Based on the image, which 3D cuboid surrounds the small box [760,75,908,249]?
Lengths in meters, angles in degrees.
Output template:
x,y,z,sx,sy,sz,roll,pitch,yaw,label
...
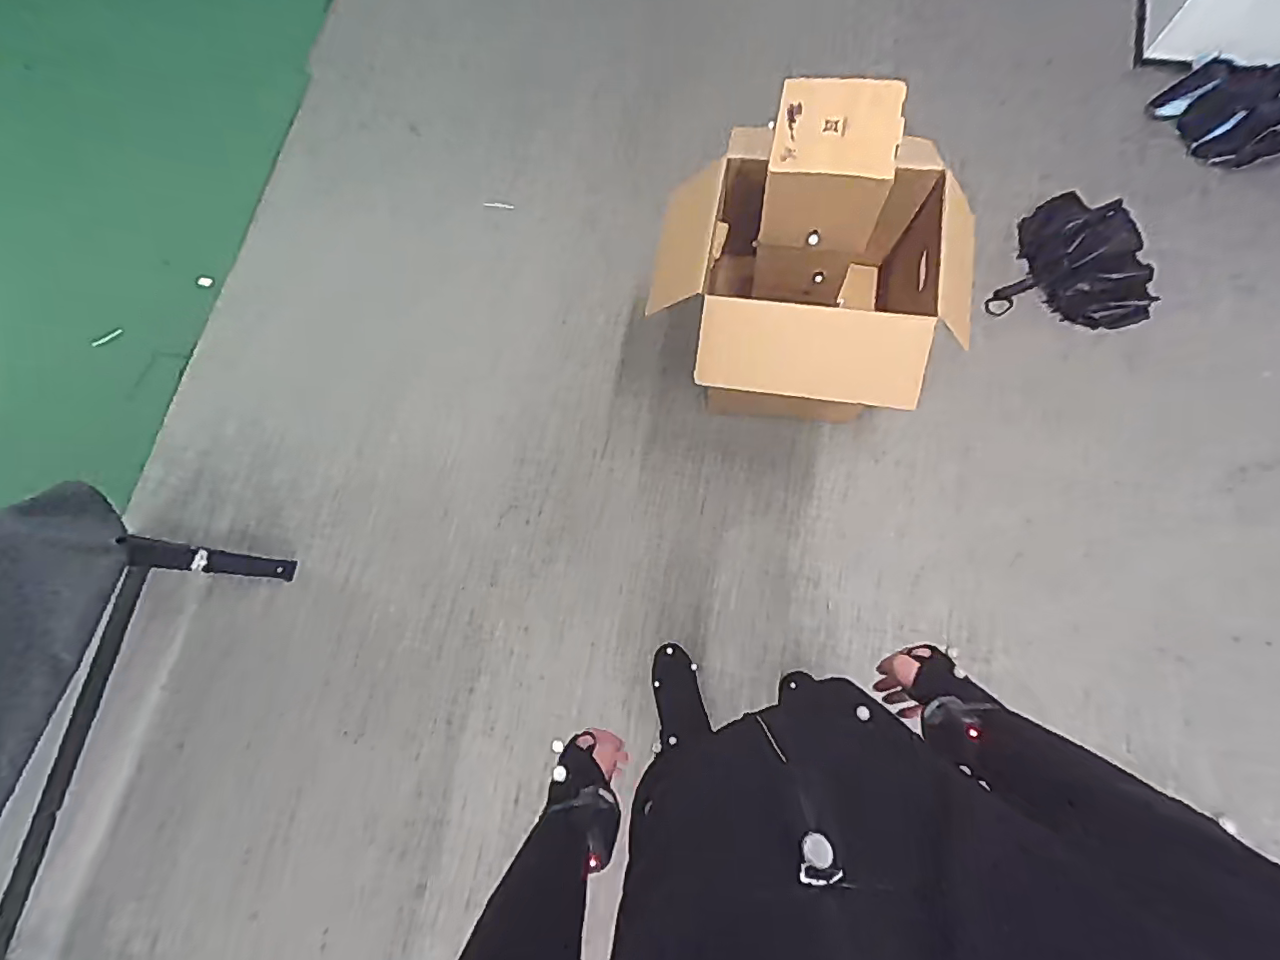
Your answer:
x,y,z,sx,sy,sz,roll,pitch,yaw,label
0.296,-0.492,0.856,0.179,0.176,0.168,11,79,9,small box
